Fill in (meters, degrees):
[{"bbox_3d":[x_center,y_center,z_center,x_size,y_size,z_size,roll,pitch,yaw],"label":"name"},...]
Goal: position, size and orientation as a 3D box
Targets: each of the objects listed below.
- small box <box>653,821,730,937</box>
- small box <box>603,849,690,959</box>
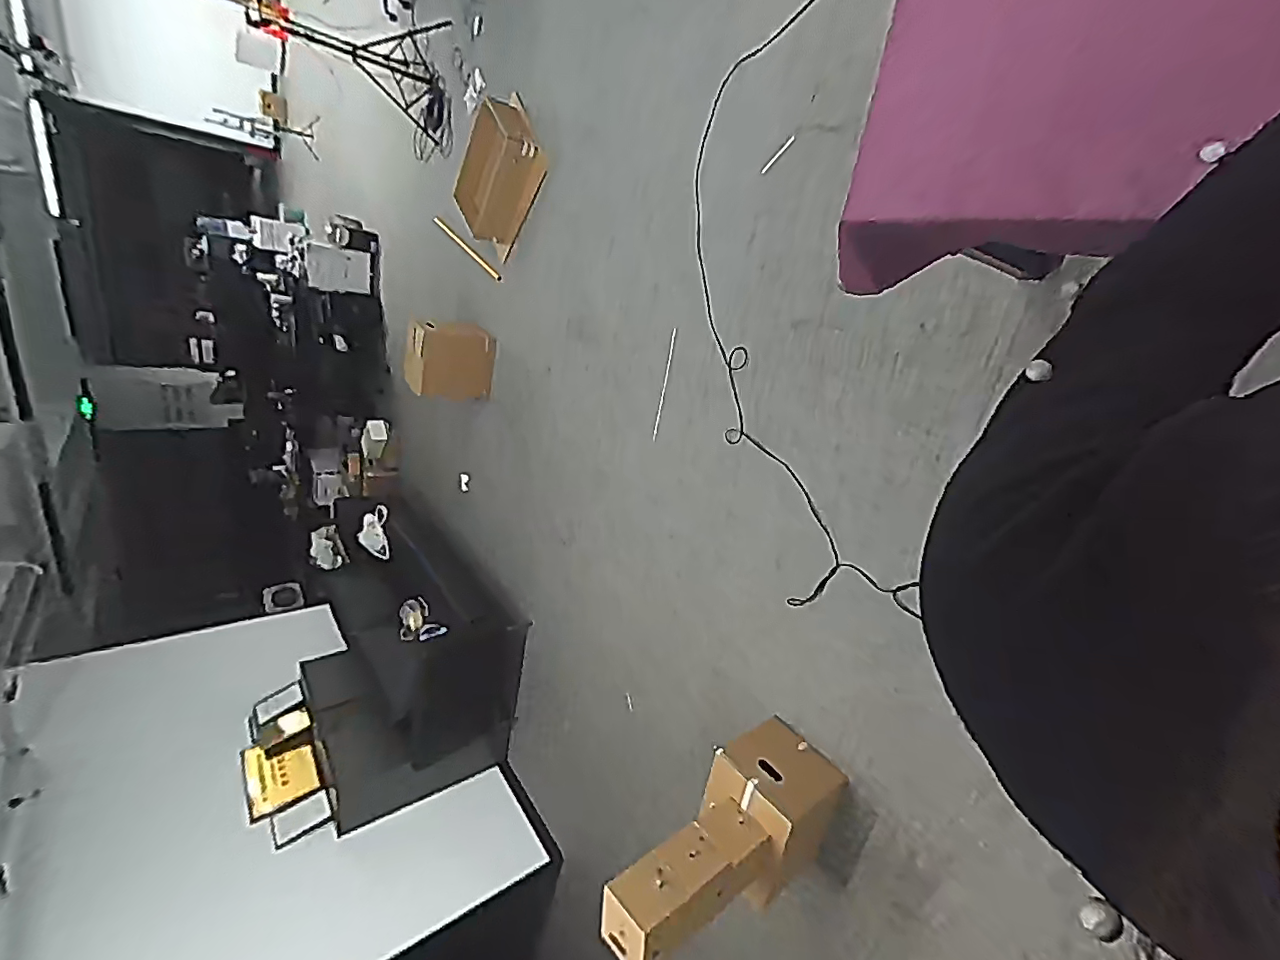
[{"bbox_3d":[0.143,1.144,1.570,0.168,0.176,0.179,20,110,47],"label":"small box"},{"bbox_3d":[0.017,1.162,1.464,0.168,0.176,0.179,19,109,46],"label":"small box"}]
